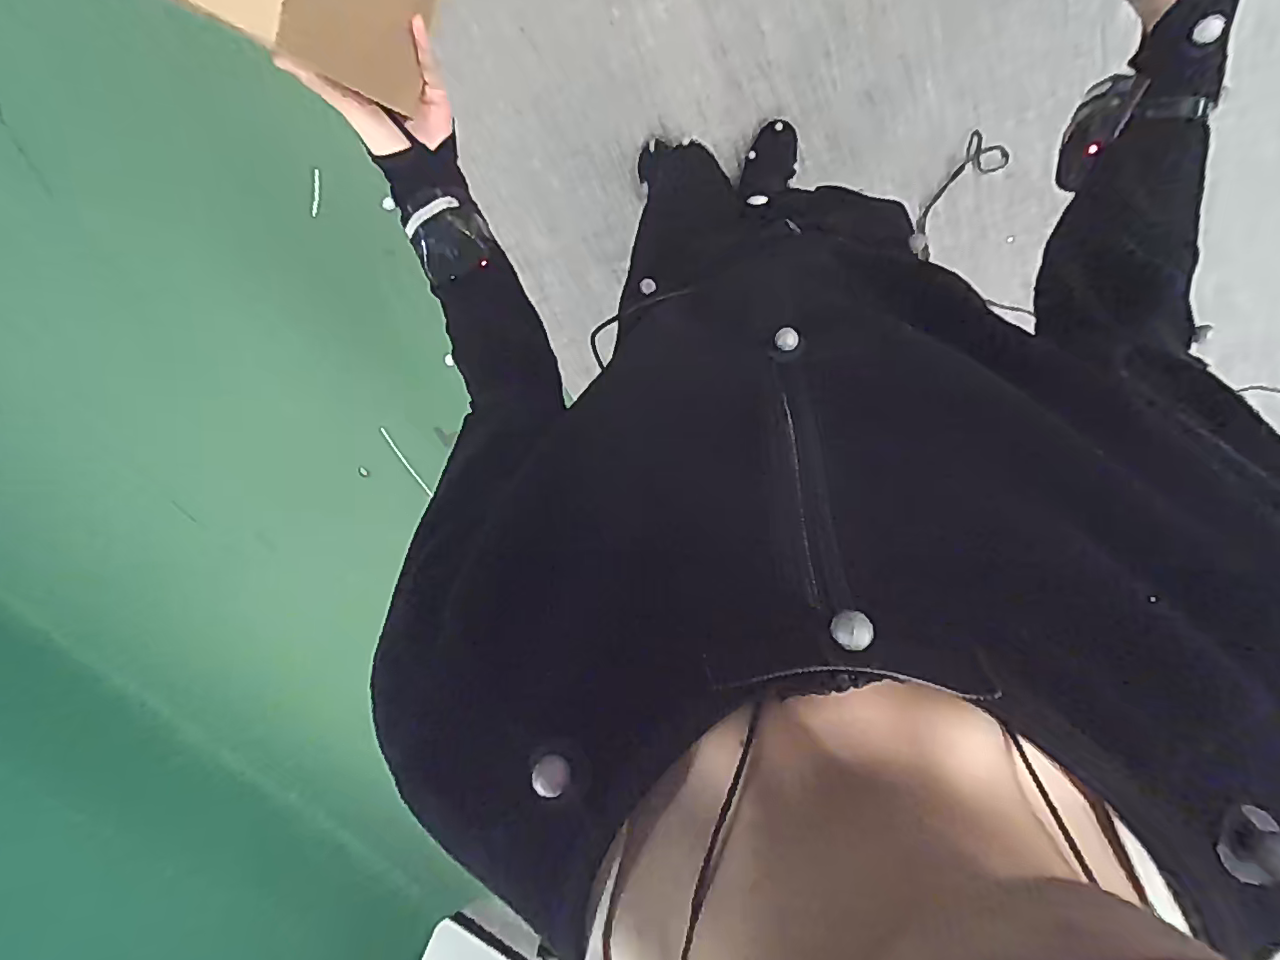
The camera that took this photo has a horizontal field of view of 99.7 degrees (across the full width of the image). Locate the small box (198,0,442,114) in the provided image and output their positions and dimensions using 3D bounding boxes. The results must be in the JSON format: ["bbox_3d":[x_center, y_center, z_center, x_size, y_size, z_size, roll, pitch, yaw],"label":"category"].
[{"bbox_3d":[-0.227,-0.377,0.333,0.179,0.168,0.176,25,111,-5],"label":"small box"}]
